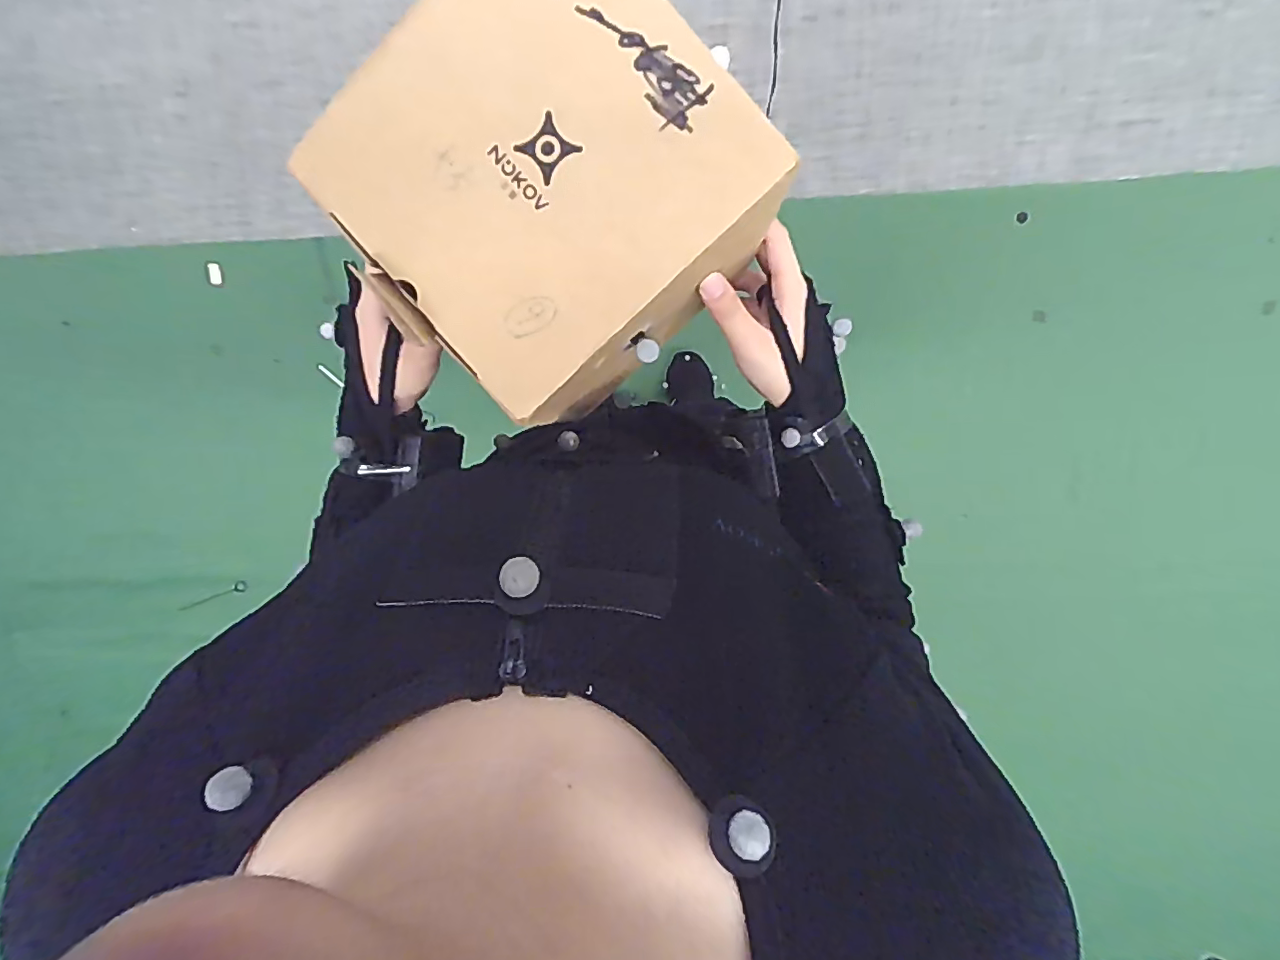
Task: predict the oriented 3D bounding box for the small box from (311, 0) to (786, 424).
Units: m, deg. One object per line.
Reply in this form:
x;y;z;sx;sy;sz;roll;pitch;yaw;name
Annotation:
-0.039;-0.152;0.333;0.179;0.176;0.168;-42;92;9;small box
